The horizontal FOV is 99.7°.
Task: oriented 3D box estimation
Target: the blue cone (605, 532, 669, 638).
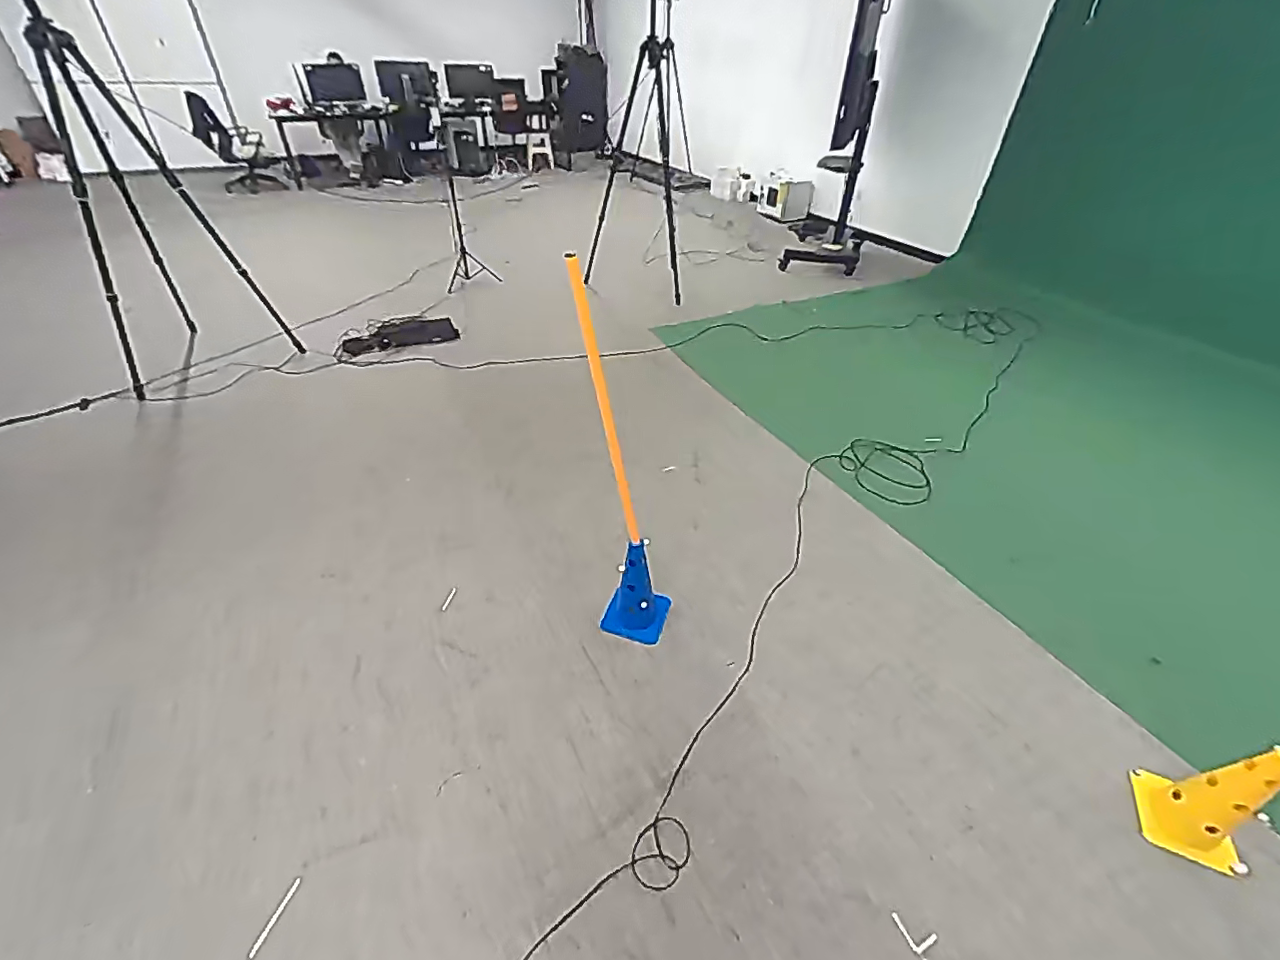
[{"bbox_3d":[-0.011,0.314,1.706,0.193,0.380,0.192,10,41,14],"label":"blue cone"}]
